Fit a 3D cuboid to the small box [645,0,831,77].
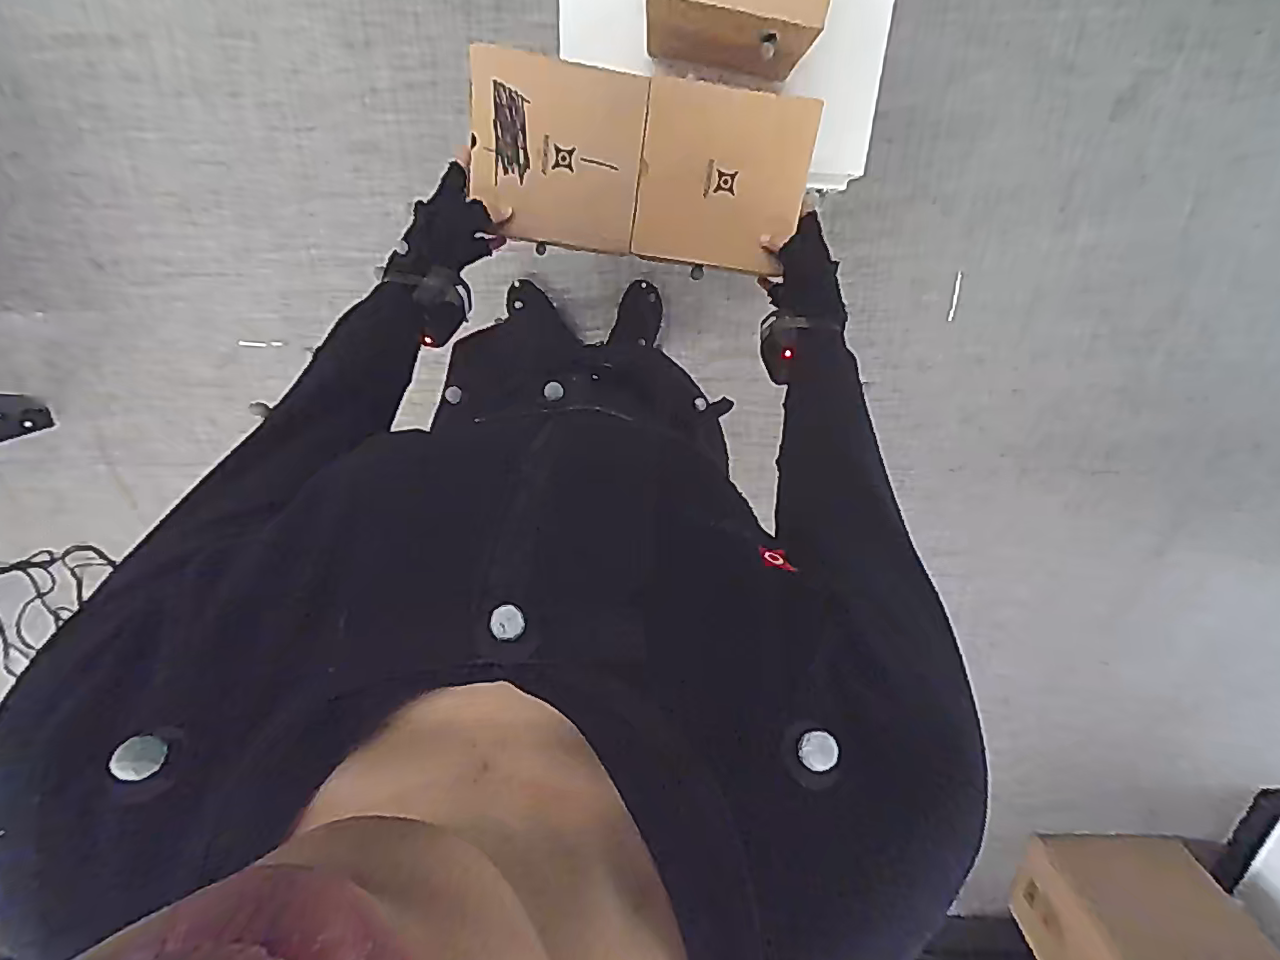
[{"bbox_3d":[0.105,-0.545,0.554,0.179,0.176,0.168,10,112,-2],"label":"small box"}]
